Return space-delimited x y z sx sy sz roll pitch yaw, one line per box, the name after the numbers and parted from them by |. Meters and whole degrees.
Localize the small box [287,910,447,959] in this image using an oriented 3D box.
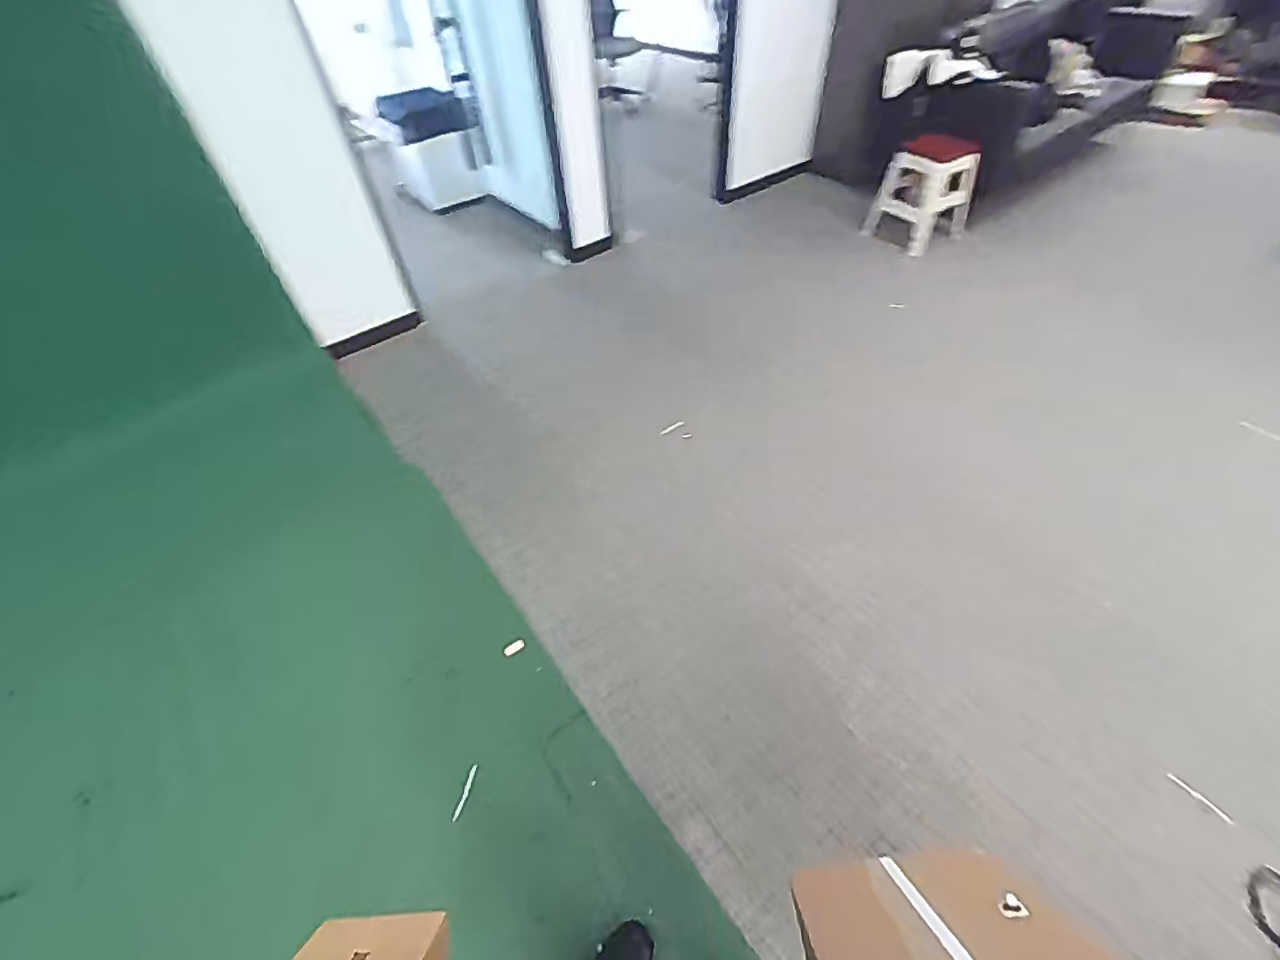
-0.346 0.665 0.654 0.168 0.179 0.176 -1 79 -2 | small box
